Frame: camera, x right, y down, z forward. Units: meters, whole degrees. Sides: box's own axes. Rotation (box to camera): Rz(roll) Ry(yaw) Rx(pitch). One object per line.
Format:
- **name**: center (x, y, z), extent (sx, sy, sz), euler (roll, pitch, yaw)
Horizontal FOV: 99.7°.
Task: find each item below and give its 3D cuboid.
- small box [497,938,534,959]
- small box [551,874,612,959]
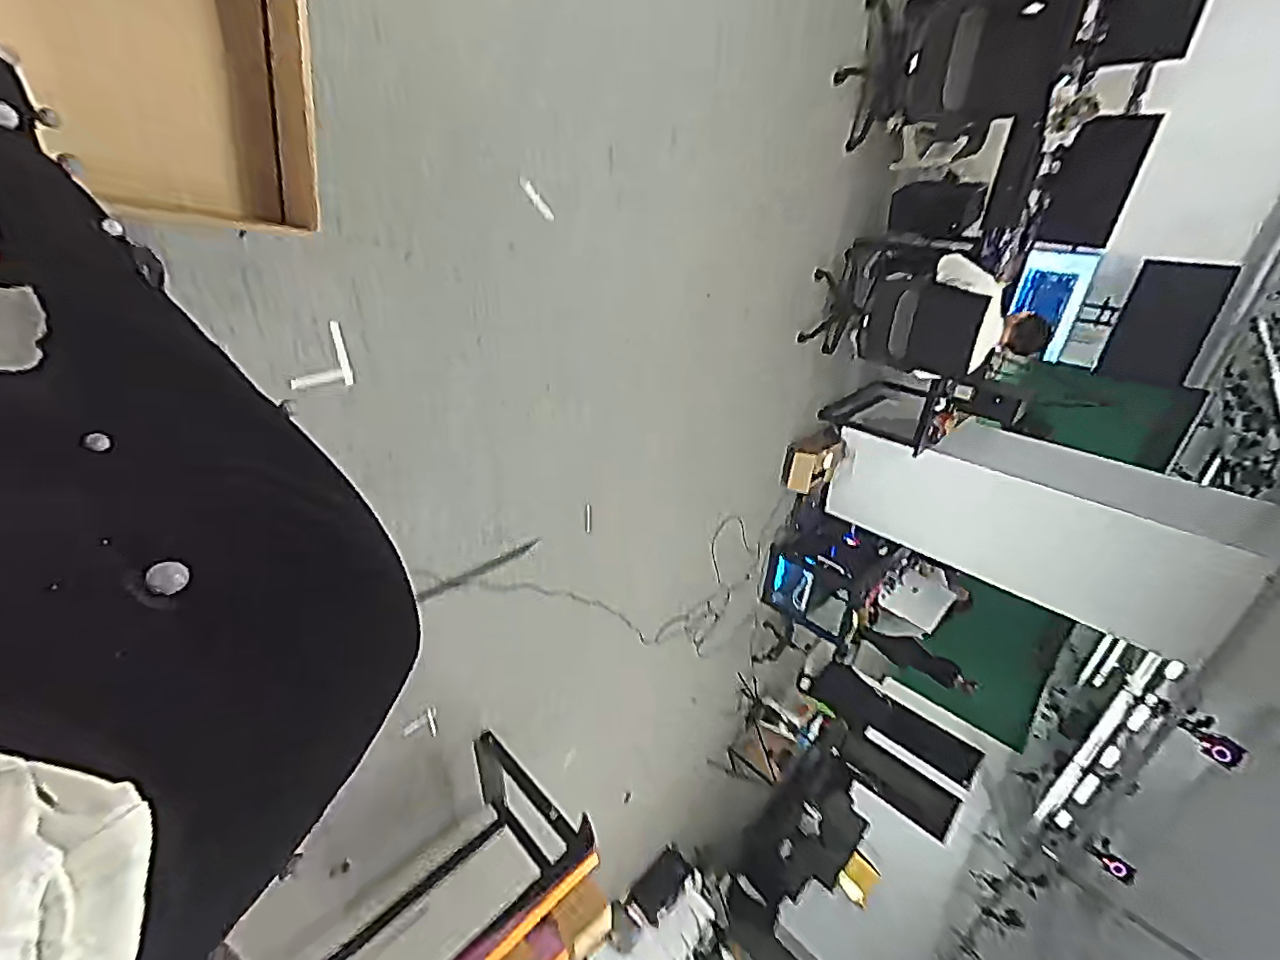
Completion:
- **small box**: center (-0.431, 1.730, 1.832), extent (0.179, 0.176, 0.168), euler (-25, 128, -39)
- **small box**: center (-0.223, 1.642, 2.023), extent (0.179, 0.176, 0.168), euler (-23, 128, -38)
